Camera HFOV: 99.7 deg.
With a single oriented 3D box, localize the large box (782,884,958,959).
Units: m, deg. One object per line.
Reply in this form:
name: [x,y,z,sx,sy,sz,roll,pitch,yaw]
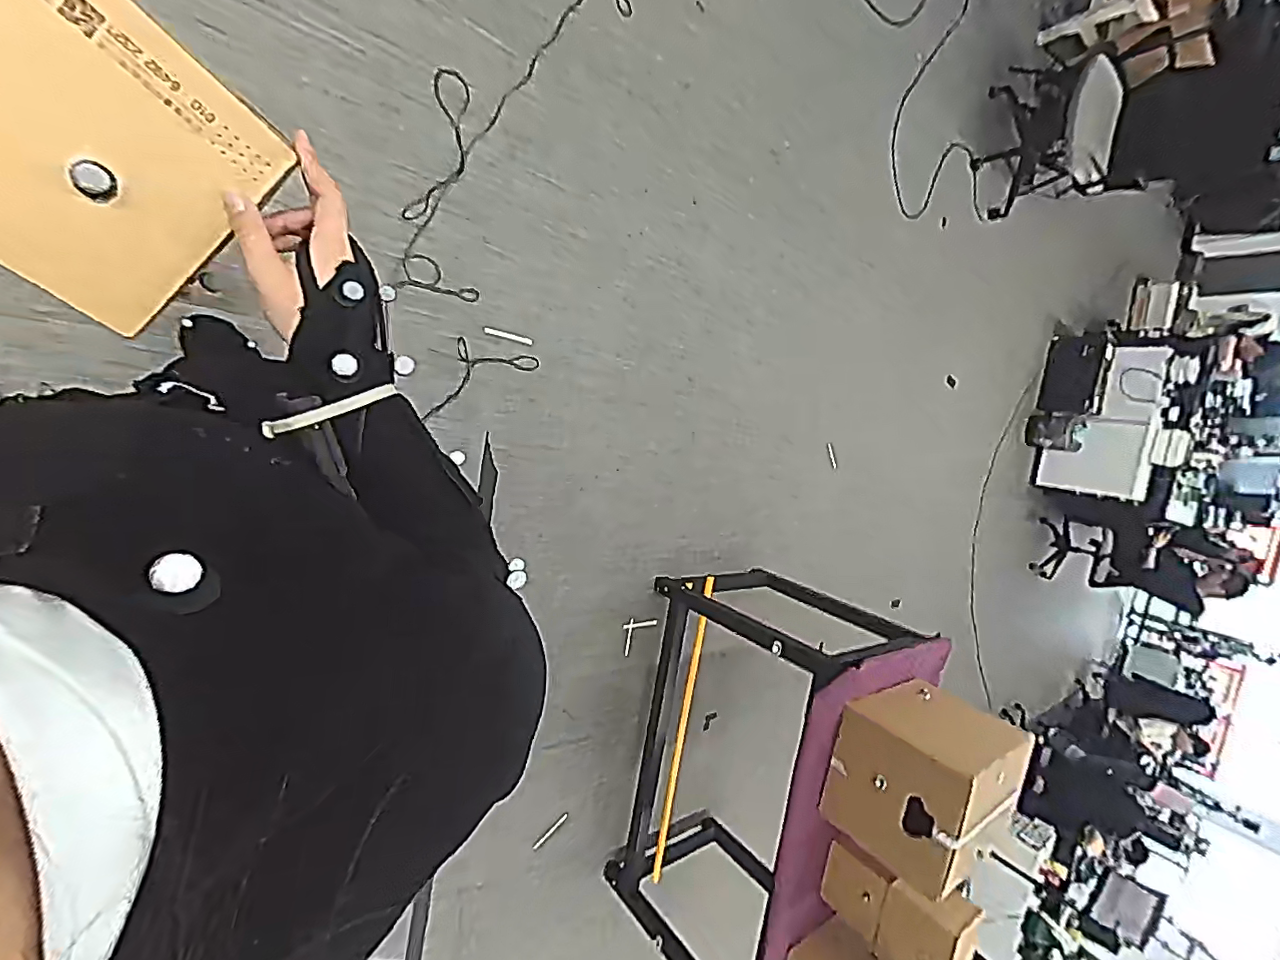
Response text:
large box: [0.611,1.434,1.483,0.408,0.320,0.320,4,99,-41]
